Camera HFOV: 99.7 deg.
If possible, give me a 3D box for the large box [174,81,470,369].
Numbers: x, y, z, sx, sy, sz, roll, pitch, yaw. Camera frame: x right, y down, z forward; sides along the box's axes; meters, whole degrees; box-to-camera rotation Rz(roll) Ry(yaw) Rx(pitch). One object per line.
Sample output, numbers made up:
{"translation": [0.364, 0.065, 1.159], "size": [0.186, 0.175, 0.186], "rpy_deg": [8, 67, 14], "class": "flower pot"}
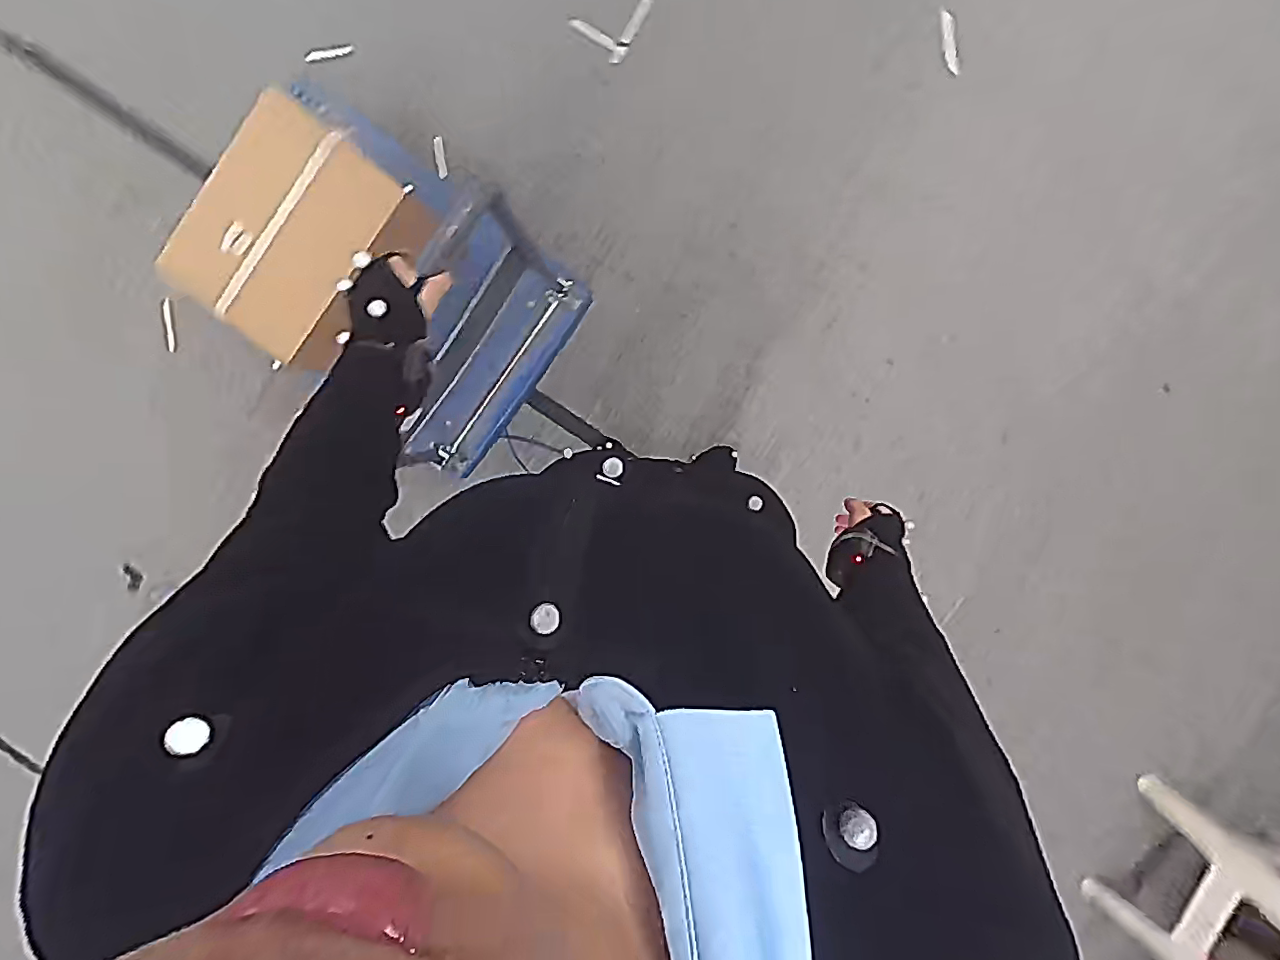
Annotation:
{"translation": [-0.642, -0.498, 1.155], "size": [0.320, 0.320, 0.408], "rpy_deg": [39, 97, -1], "class": "large box"}
